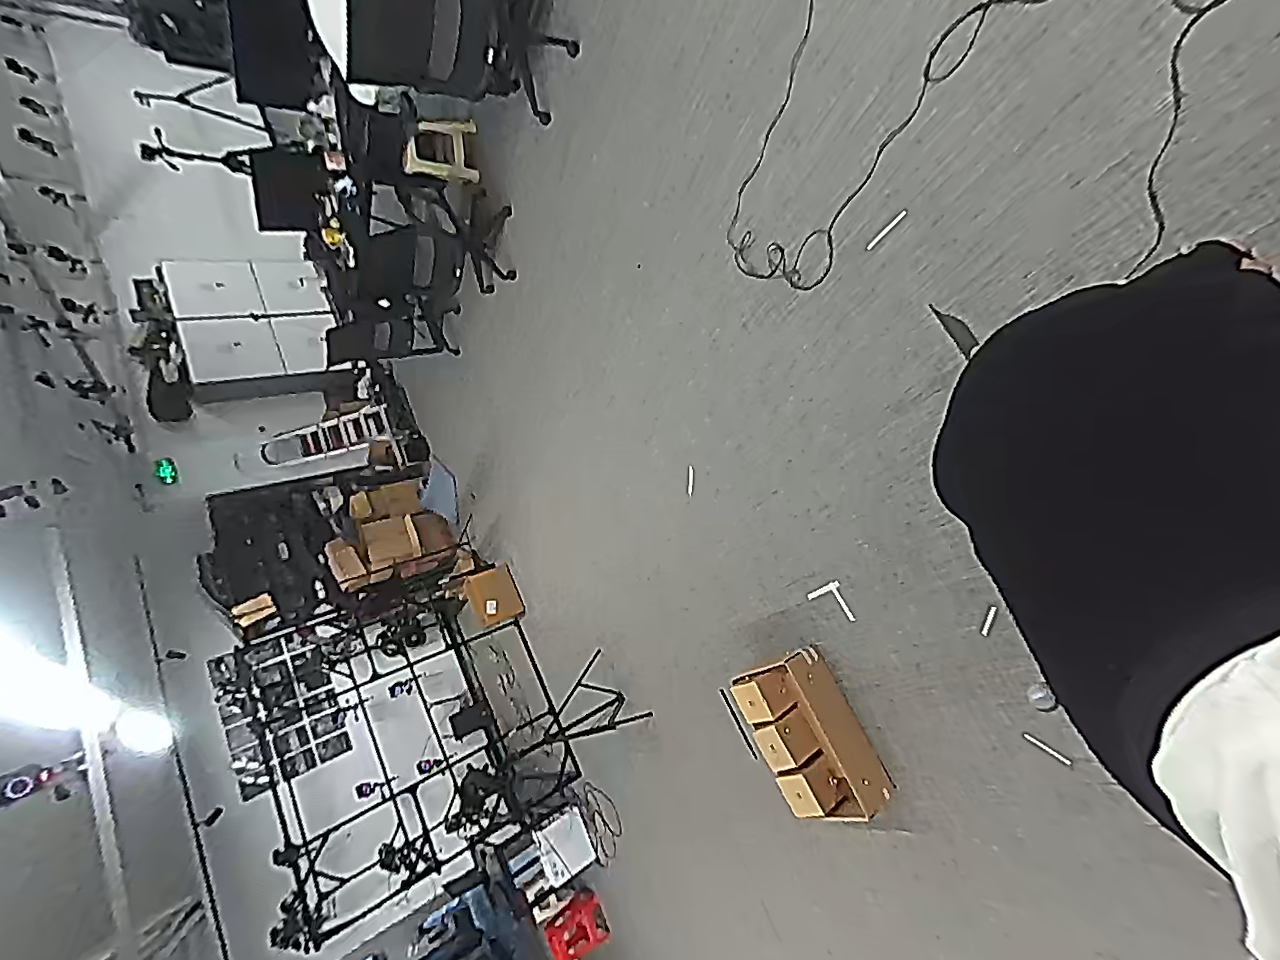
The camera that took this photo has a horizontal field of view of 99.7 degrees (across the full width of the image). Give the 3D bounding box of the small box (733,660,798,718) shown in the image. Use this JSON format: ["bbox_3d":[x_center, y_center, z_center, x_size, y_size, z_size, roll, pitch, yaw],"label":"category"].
[{"bbox_3d":[0.543,0.900,2.326,0.179,0.176,0.168,-44,69,49],"label":"small box"}]
